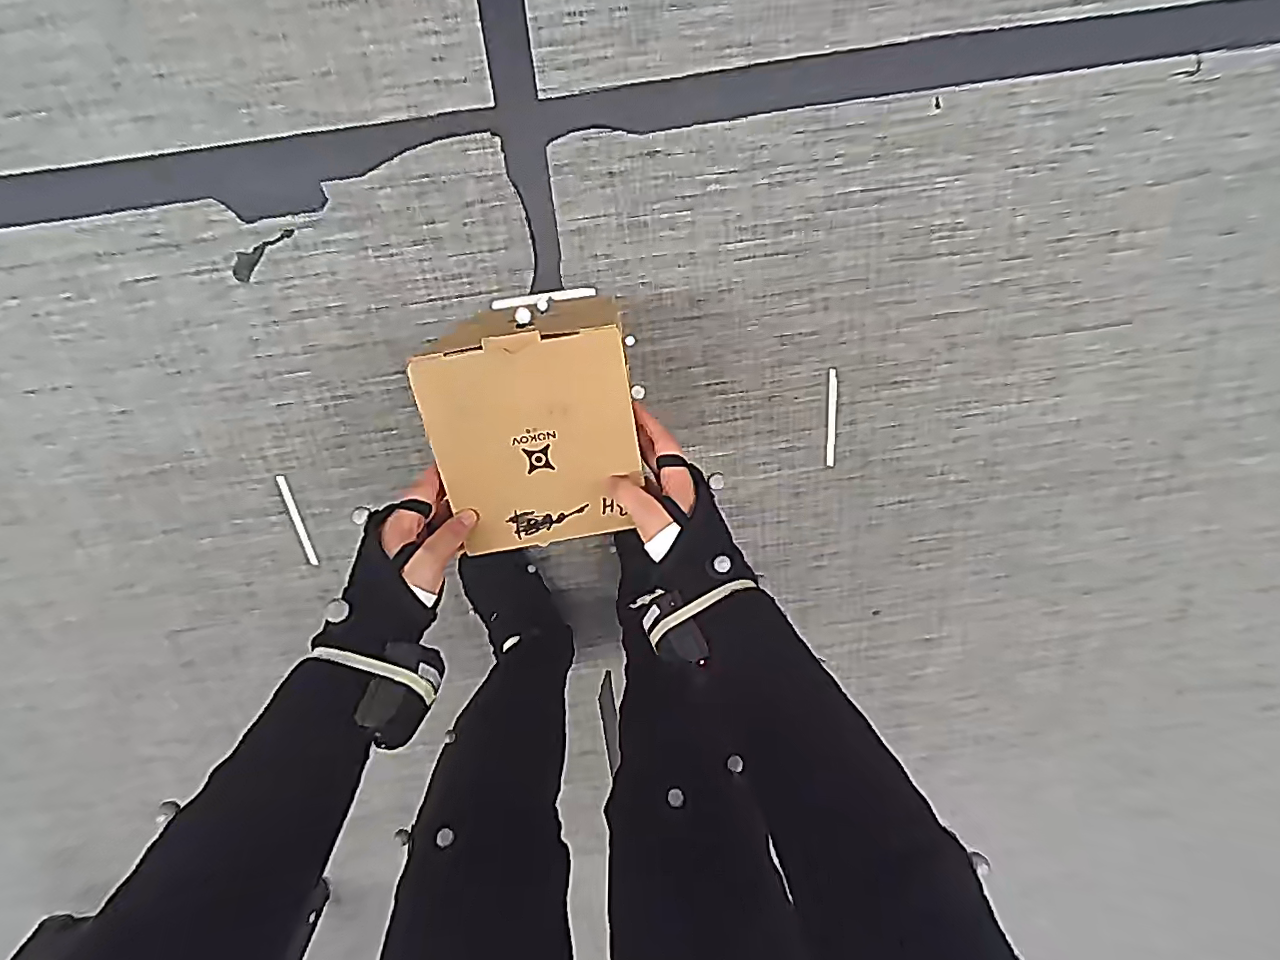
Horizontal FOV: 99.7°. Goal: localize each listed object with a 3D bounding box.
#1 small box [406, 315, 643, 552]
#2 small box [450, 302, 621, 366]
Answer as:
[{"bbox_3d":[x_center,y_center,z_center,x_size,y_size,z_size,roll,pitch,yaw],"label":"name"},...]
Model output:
[{"bbox_3d":[-0.096,-0.057,0.520,0.168,0.176,0.179,-10,112,-1],"label":"small box"},{"bbox_3d":[-0.111,-0.122,0.671,0.179,0.176,0.168,-8,112,-1],"label":"small box"}]
